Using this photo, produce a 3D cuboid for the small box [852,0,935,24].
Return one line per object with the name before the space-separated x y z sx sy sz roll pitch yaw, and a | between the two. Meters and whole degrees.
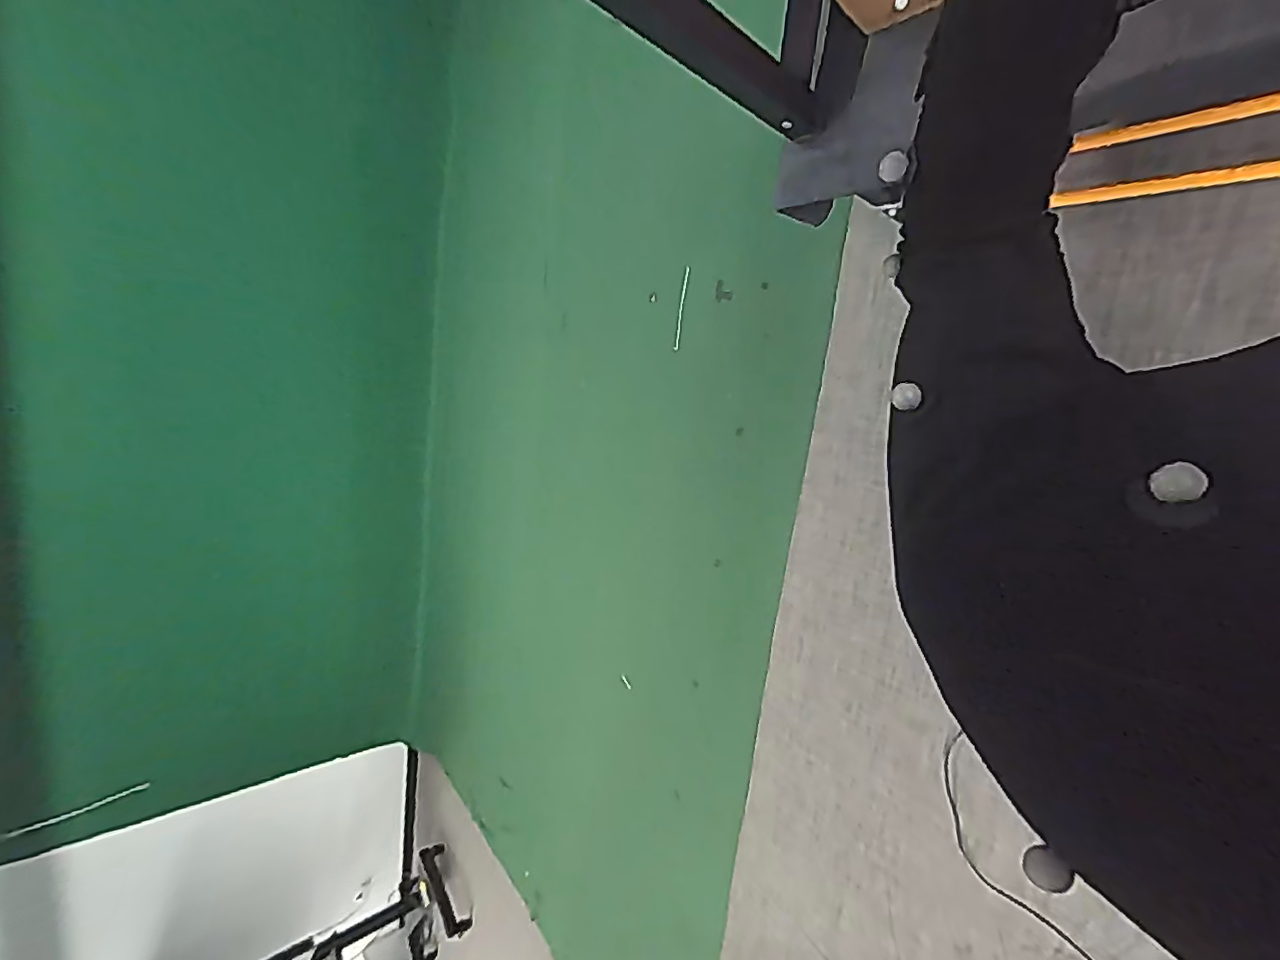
small box | 0.343 -0.740 0.681 0.168 0.176 0.179 17 104 47
